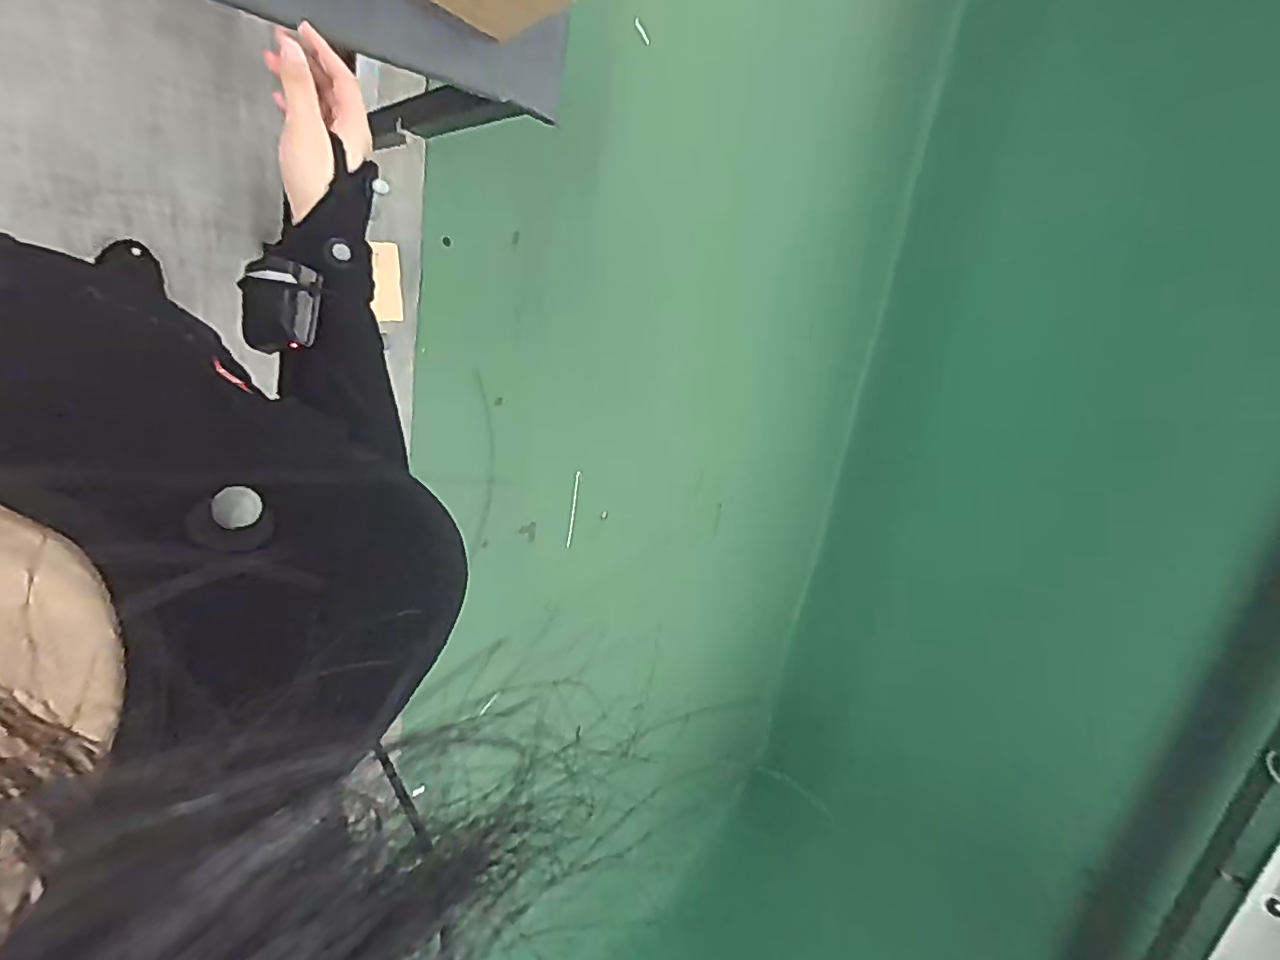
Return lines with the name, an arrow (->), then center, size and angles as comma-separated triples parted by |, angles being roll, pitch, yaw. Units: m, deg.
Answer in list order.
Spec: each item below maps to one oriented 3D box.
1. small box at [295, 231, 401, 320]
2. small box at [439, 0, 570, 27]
small box -> -0.676, -0.473, 1.254 | 0.168, 0.176, 0.179 | -17, 120, -44
small box -> -0.176, -0.636, 0.581 | 0.179, 0.176, 0.168 | -5, 107, -46
